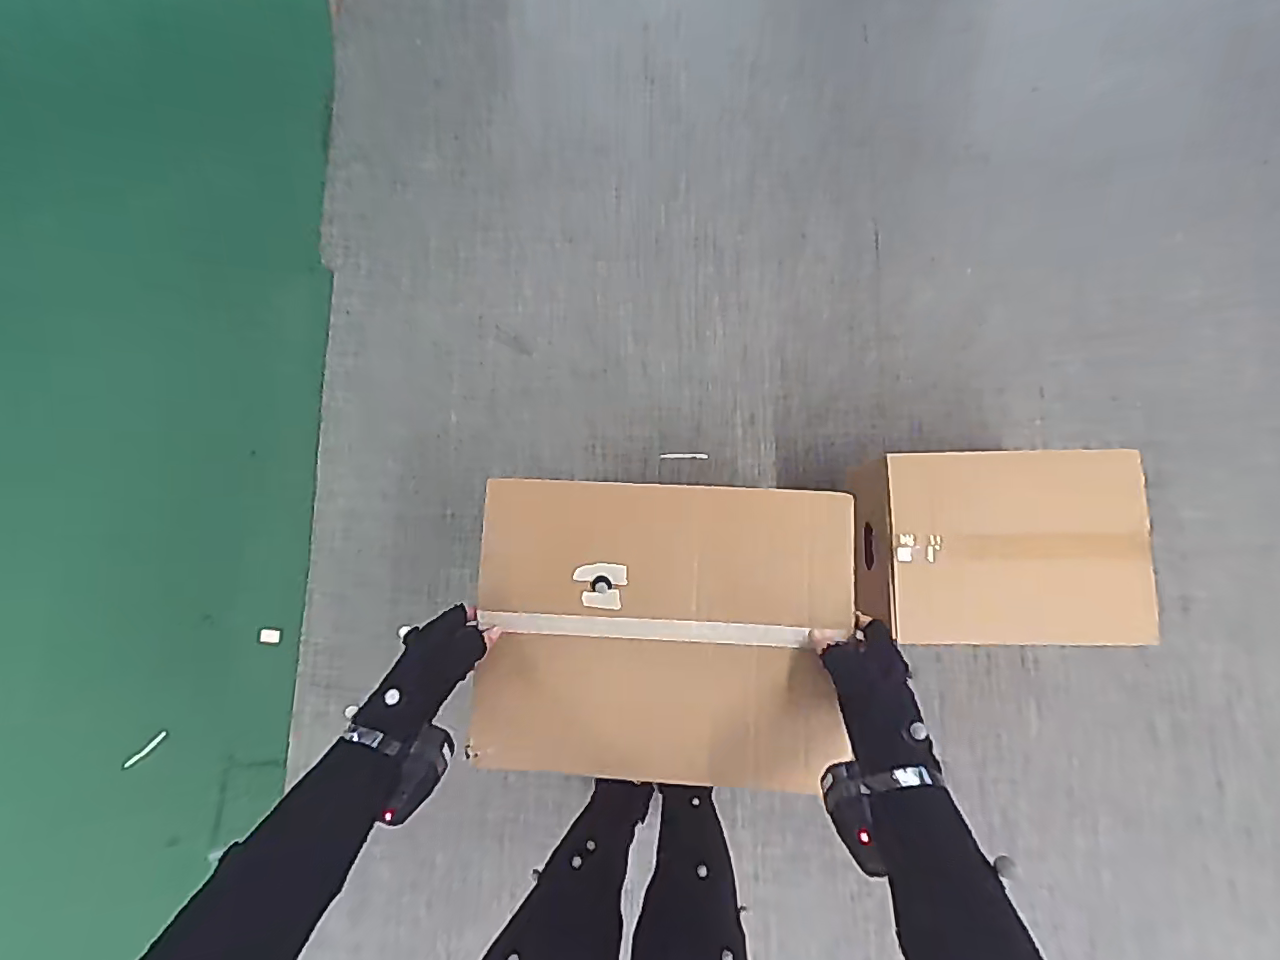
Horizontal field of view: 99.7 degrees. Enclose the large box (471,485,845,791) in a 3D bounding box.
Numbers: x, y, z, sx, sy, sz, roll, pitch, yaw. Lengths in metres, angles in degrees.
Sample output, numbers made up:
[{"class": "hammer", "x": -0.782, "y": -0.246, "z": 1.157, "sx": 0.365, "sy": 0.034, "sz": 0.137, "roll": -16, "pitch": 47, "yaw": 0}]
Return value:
[{"class": "large box", "x": 0.031, "y": 0.177, "z": 0.732, "sx": 0.408, "sy": 0.320, "sz": 0.320, "roll": 2, "pitch": 84, "yaw": 5}]
